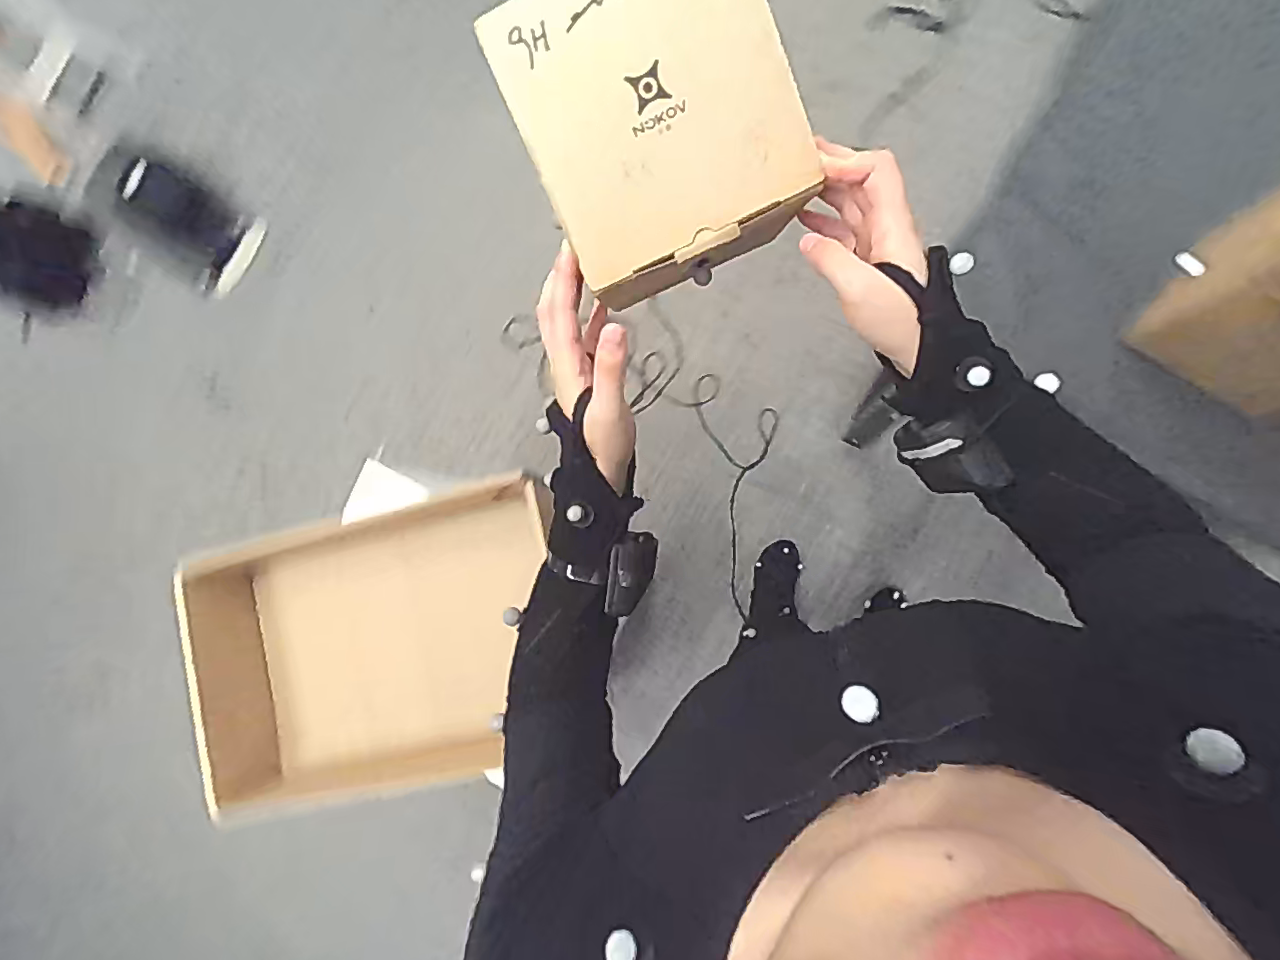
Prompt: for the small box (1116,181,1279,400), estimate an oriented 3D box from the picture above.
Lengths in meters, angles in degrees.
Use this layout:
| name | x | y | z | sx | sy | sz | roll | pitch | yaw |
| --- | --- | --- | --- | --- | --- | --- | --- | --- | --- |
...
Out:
| name | x | y | z | sx | sy | sz | roll | pitch | yaw |
| --- | --- | --- | --- | --- | --- | --- | --- | --- | --- |
| small box | 0.697 | -0.205 | 0.586 | 0.179 | 0.176 | 0.168 | 38 | 91 | 12 |
